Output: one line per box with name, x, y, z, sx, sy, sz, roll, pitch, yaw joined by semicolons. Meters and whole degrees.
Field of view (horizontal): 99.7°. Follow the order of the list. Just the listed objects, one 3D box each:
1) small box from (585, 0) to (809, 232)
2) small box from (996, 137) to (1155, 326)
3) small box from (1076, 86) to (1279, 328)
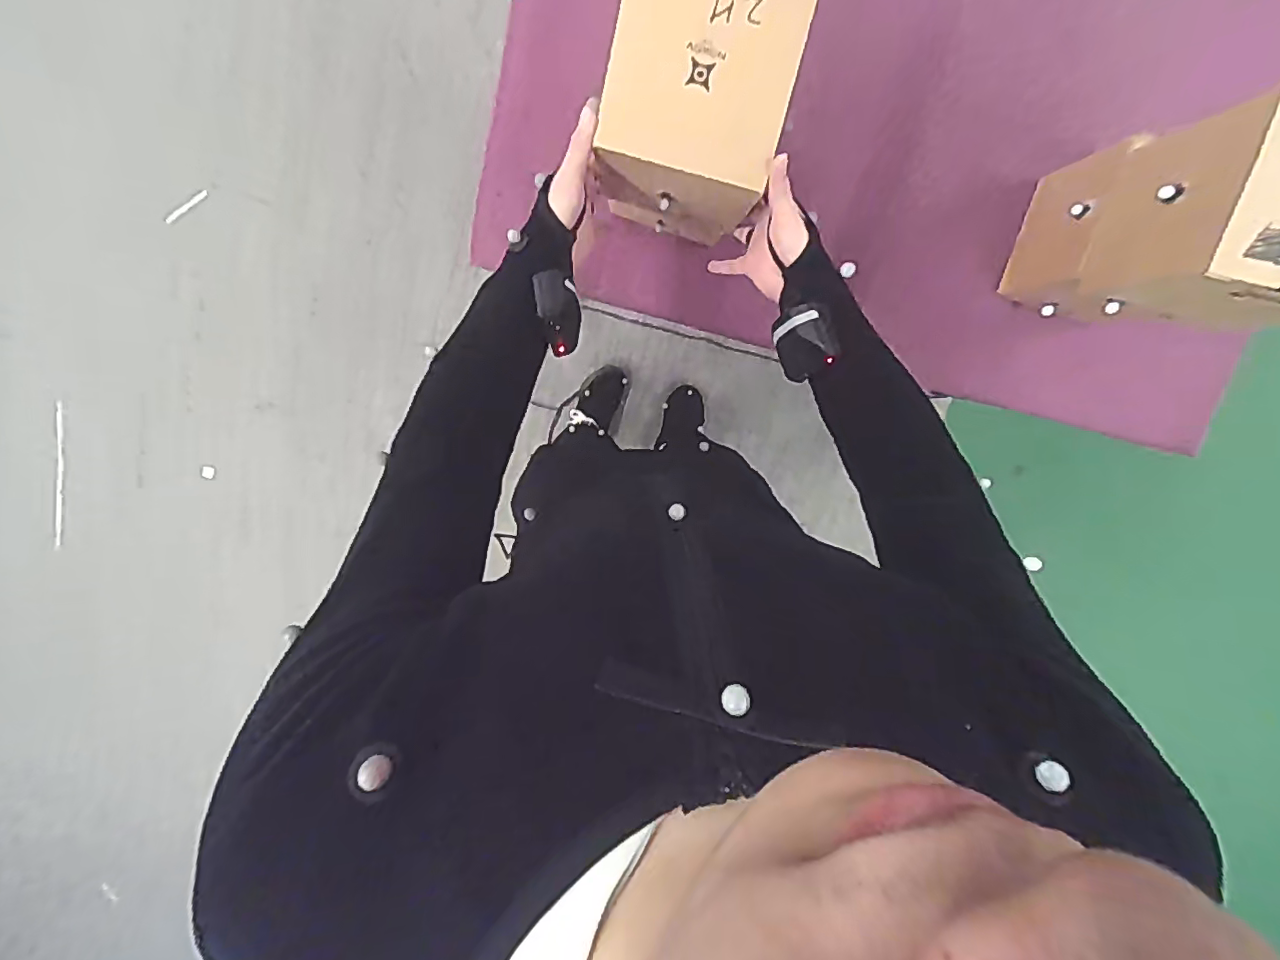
small box;0.049;-0.379;0.561;0.168;0.176;0.179;14;102;-4
small box;0.642;-0.325;0.748;0.168;0.176;0.179;16;101;-3
small box;0.635;-0.274;0.591;0.168;0.176;0.179;14;100;-2
